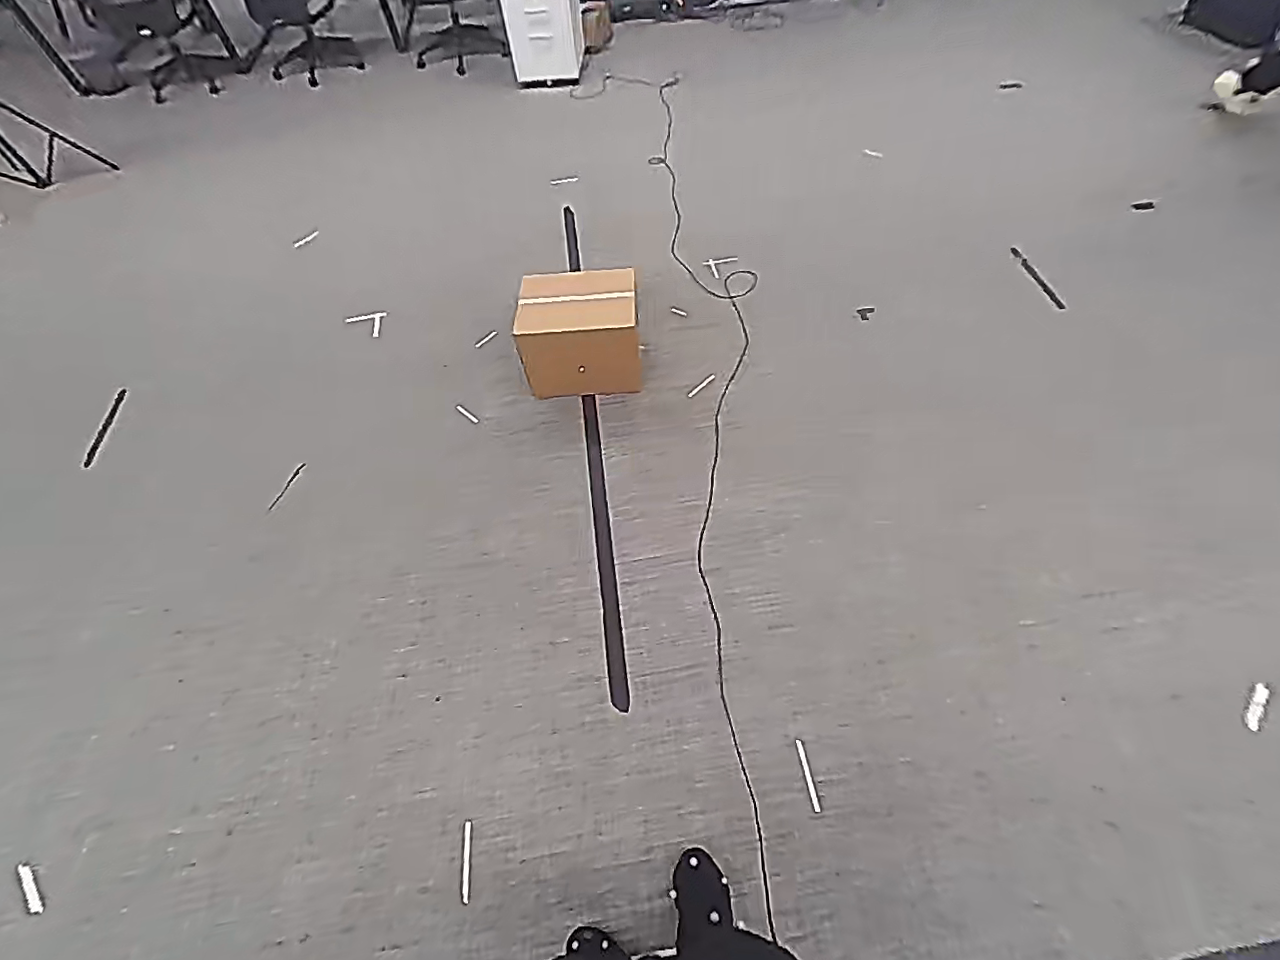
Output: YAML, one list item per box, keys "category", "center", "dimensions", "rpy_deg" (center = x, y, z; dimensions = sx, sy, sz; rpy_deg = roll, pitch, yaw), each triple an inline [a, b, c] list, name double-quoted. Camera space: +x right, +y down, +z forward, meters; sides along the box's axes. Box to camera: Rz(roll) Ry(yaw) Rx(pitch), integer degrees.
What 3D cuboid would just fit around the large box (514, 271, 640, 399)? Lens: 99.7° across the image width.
- category: "large box"
  center: [-0.210, -0.516, 1.949]
  dimensions: [0.408, 0.320, 0.320]
  rpy_deg: [-3, 57, 2]
